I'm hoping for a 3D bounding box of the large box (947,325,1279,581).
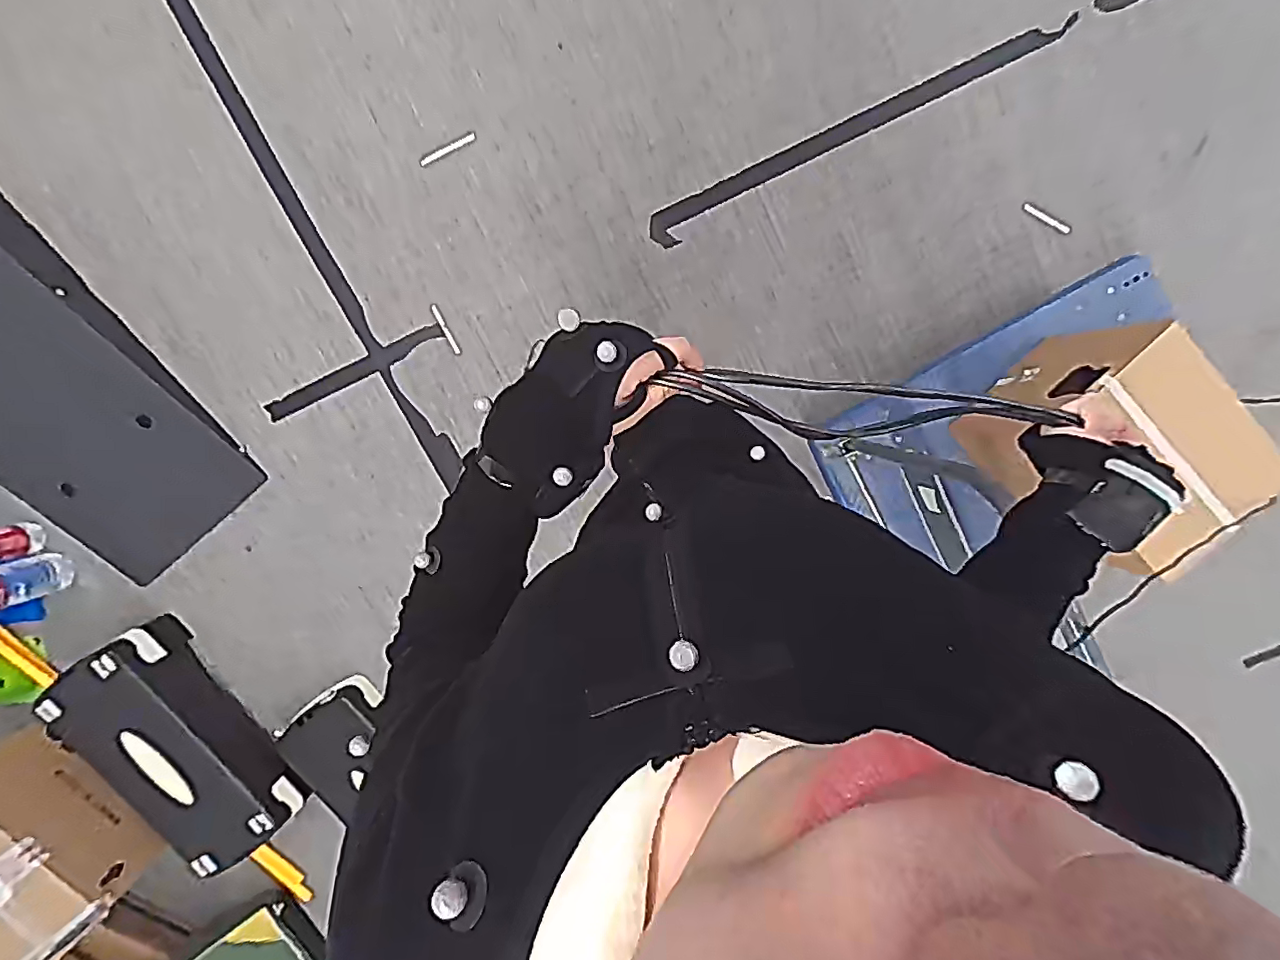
[{"bbox_3d":[0.978,-0.066,1.160,0.408,0.320,0.320,44,96,-8],"label":"large box"}]
